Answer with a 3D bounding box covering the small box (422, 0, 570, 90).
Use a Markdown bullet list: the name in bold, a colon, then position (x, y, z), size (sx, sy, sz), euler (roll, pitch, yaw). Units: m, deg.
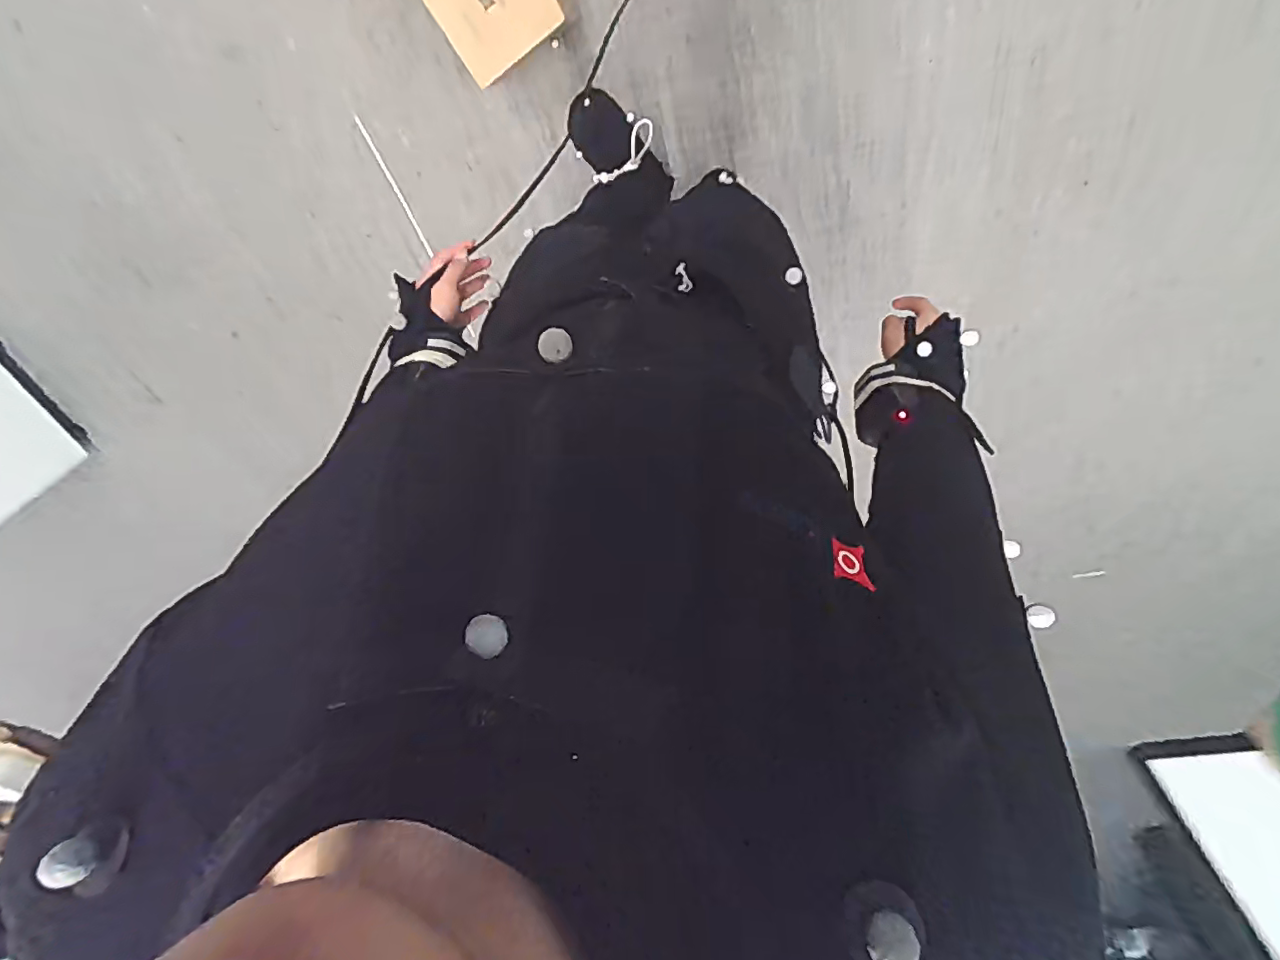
- **small box**: position (-0.227, -0.775, 0.871), size (0.179, 0.176, 0.168), euler (-25, 124, 21)
